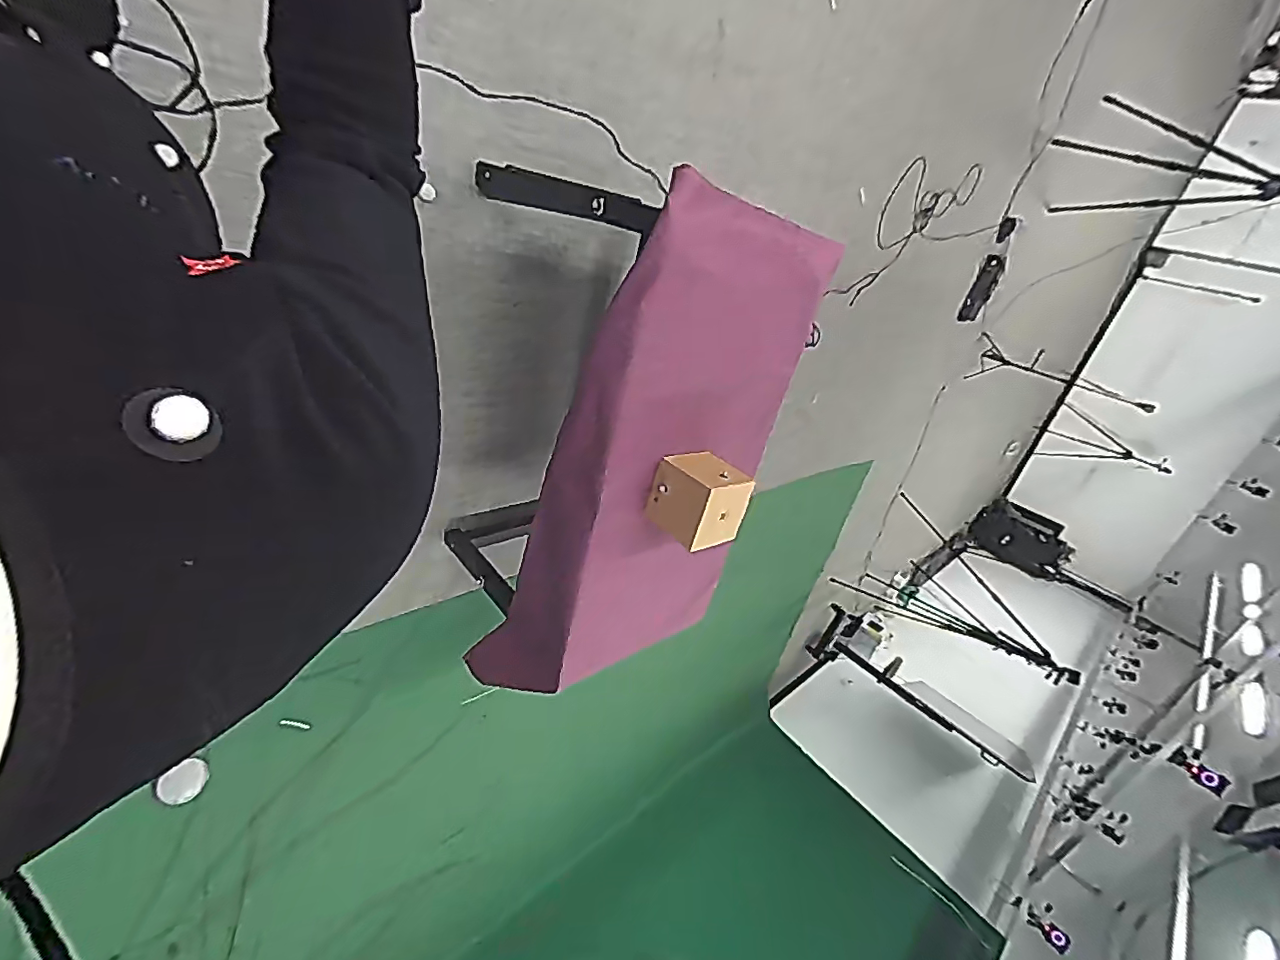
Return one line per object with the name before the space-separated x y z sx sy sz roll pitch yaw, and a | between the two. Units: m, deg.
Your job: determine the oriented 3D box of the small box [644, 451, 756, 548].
small box | 0.141 0.038 1.298 0.179 0.176 0.168 -7 123 -44
